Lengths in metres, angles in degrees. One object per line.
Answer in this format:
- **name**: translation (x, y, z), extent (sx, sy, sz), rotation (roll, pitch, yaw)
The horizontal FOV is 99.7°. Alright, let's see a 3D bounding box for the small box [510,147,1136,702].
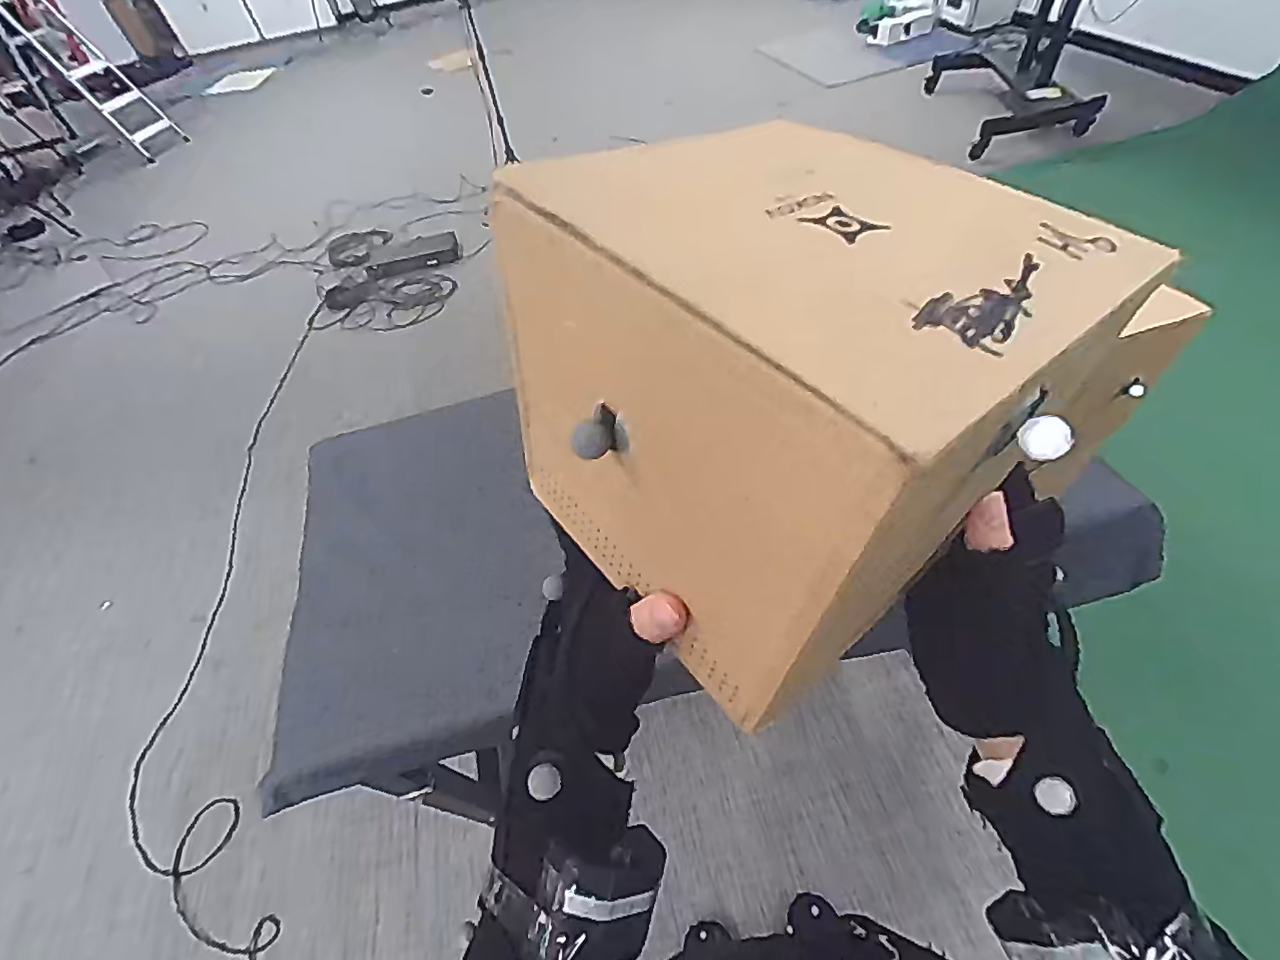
- **small box**: translation (0.058, -0.034, 0.258), extent (0.168, 0.176, 0.179), rotation (-29, 55, -28)

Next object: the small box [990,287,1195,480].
- **small box**: translation (0.437, -0.128, 0.619), extent (0.179, 0.176, 0.168), rotation (-18, 49, -4)

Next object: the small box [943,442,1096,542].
- **small box**: translation (0.456, -0.034, 0.749), extent (0.168, 0.176, 0.179), rotation (-19, 50, -6)
